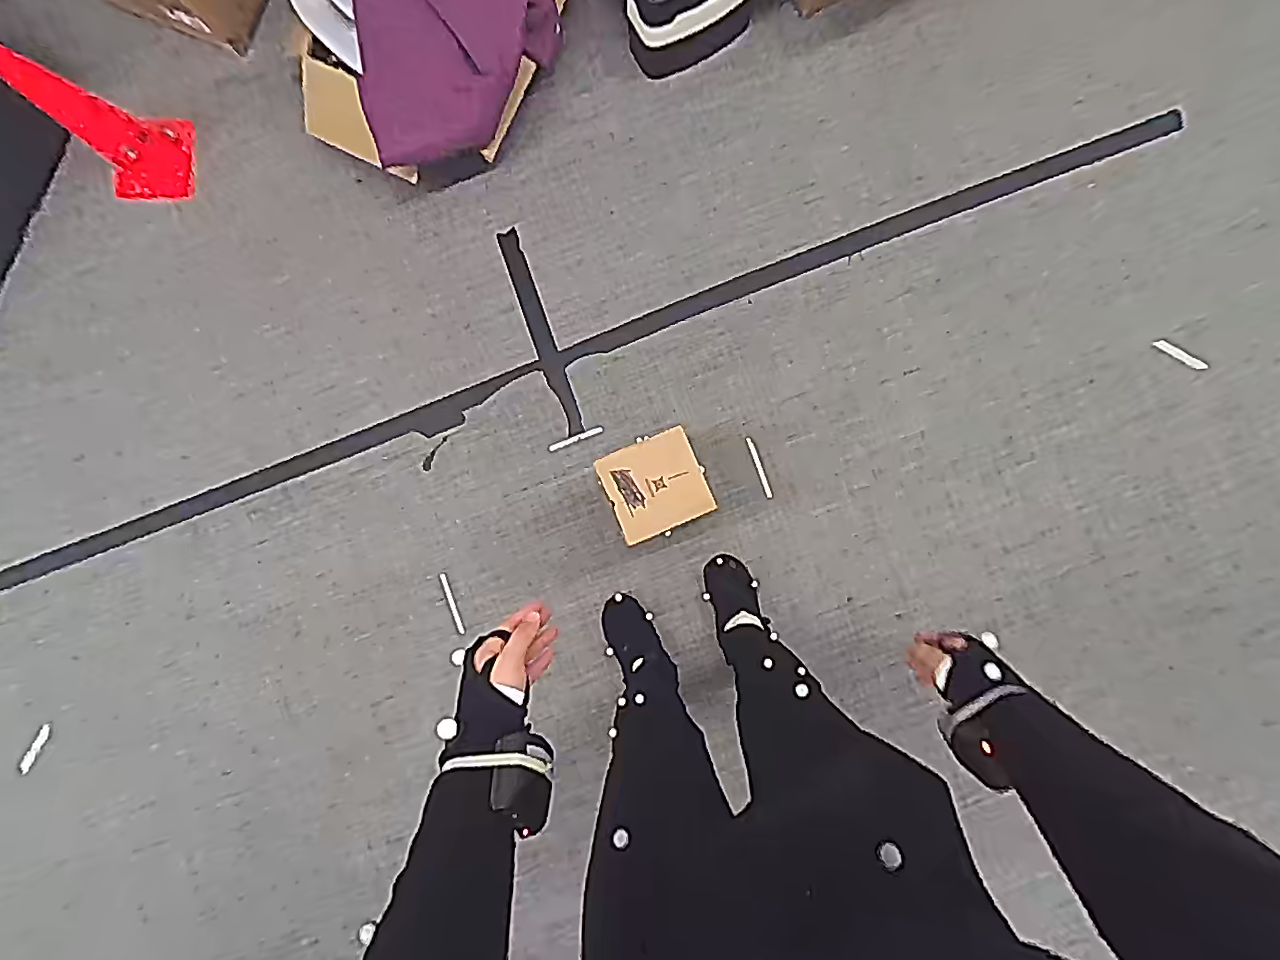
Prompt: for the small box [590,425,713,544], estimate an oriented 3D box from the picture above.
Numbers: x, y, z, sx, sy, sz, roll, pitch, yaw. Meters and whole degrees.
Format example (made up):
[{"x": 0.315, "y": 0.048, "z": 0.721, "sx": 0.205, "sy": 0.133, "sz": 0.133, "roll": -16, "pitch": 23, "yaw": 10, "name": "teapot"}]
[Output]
[{"x": 0.022, "y": 0.012, "z": 1.033, "sx": 0.179, "sy": 0.176, "sz": 0.168, "roll": -23, "pitch": 88, "yaw": 0, "name": "small box"}]
